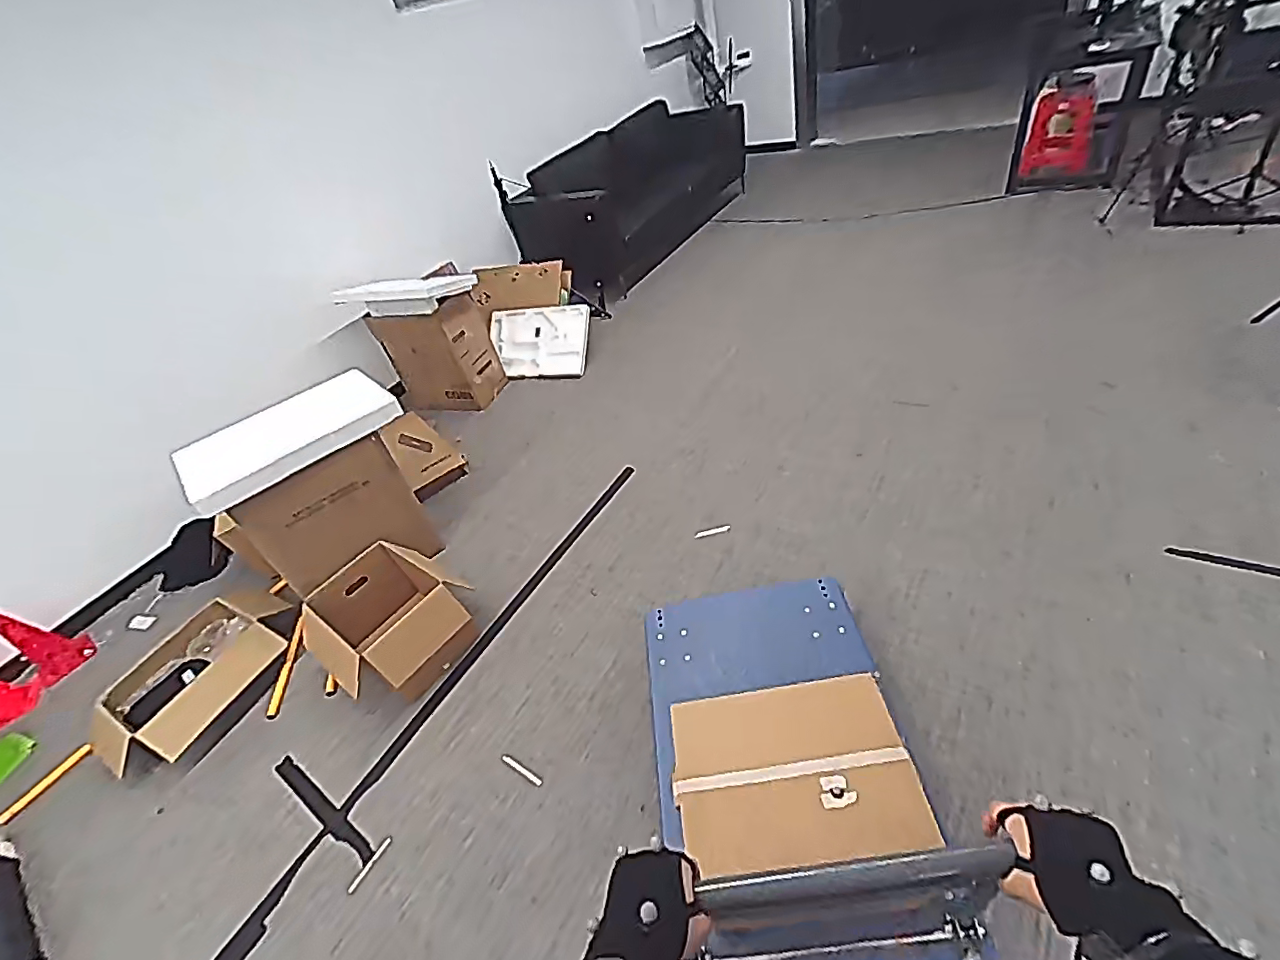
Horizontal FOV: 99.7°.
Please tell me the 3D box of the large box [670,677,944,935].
[{"bbox_3d":[0.290,0.629,1.044,0.408,0.320,0.320,-11,41,5],"label":"large box"}]
